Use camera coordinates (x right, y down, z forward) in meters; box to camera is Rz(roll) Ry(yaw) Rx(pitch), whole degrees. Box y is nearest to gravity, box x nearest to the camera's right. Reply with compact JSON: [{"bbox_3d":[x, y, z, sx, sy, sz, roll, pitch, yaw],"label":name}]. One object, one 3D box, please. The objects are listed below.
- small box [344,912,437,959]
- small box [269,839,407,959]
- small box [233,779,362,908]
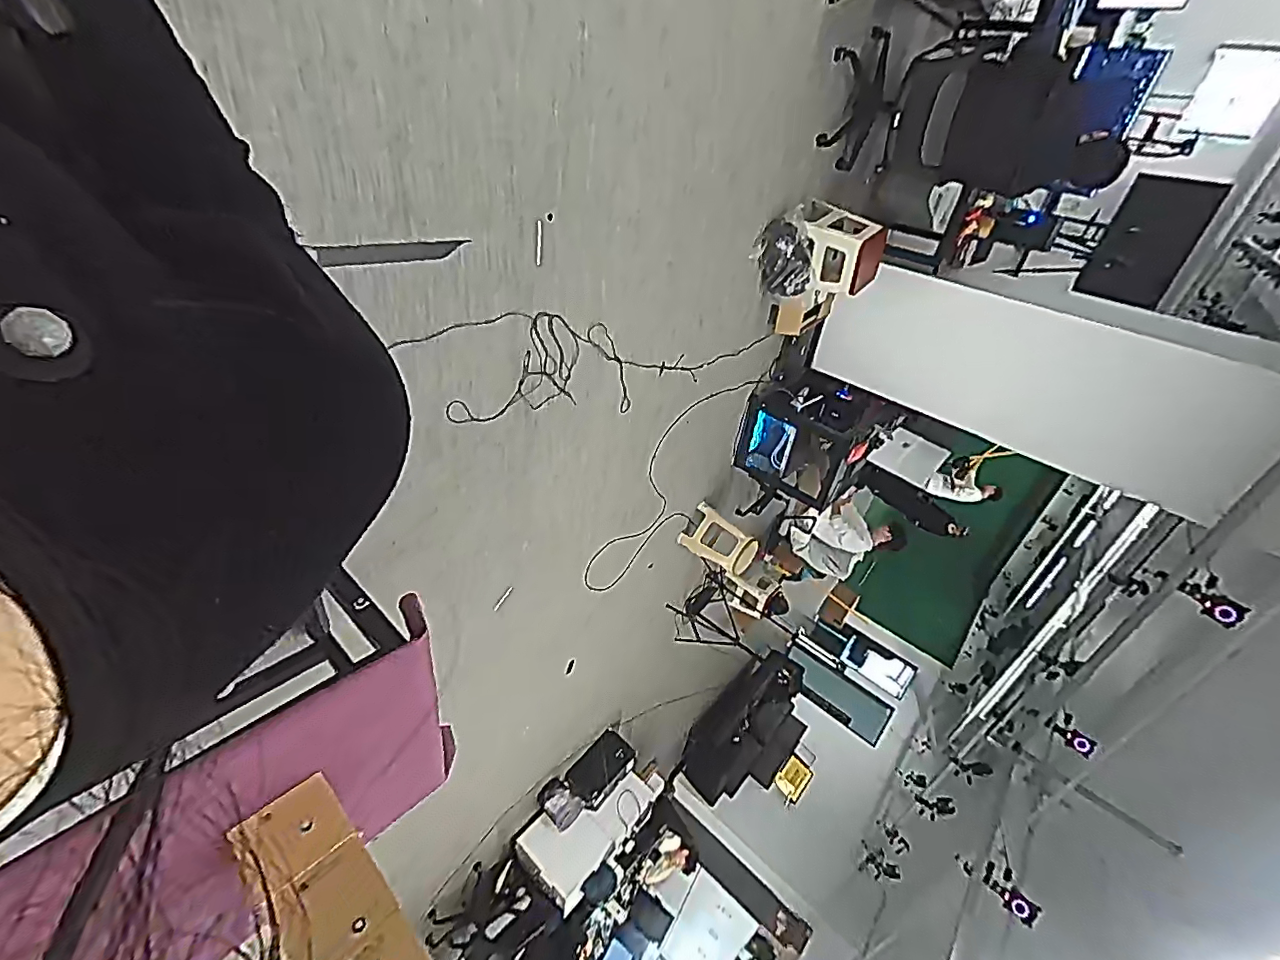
[{"bbox_3d":[-0.427,0.891,0.915,0.168,0.176,0.179,-28,138,-43],"label":"small box"},{"bbox_3d":[-0.548,0.816,0.998,0.168,0.176,0.179,-29,140,-43],"label":"small box"},{"bbox_3d":[-0.670,0.737,1.074,0.168,0.176,0.179,-28,139,-43],"label":"small box"}]
